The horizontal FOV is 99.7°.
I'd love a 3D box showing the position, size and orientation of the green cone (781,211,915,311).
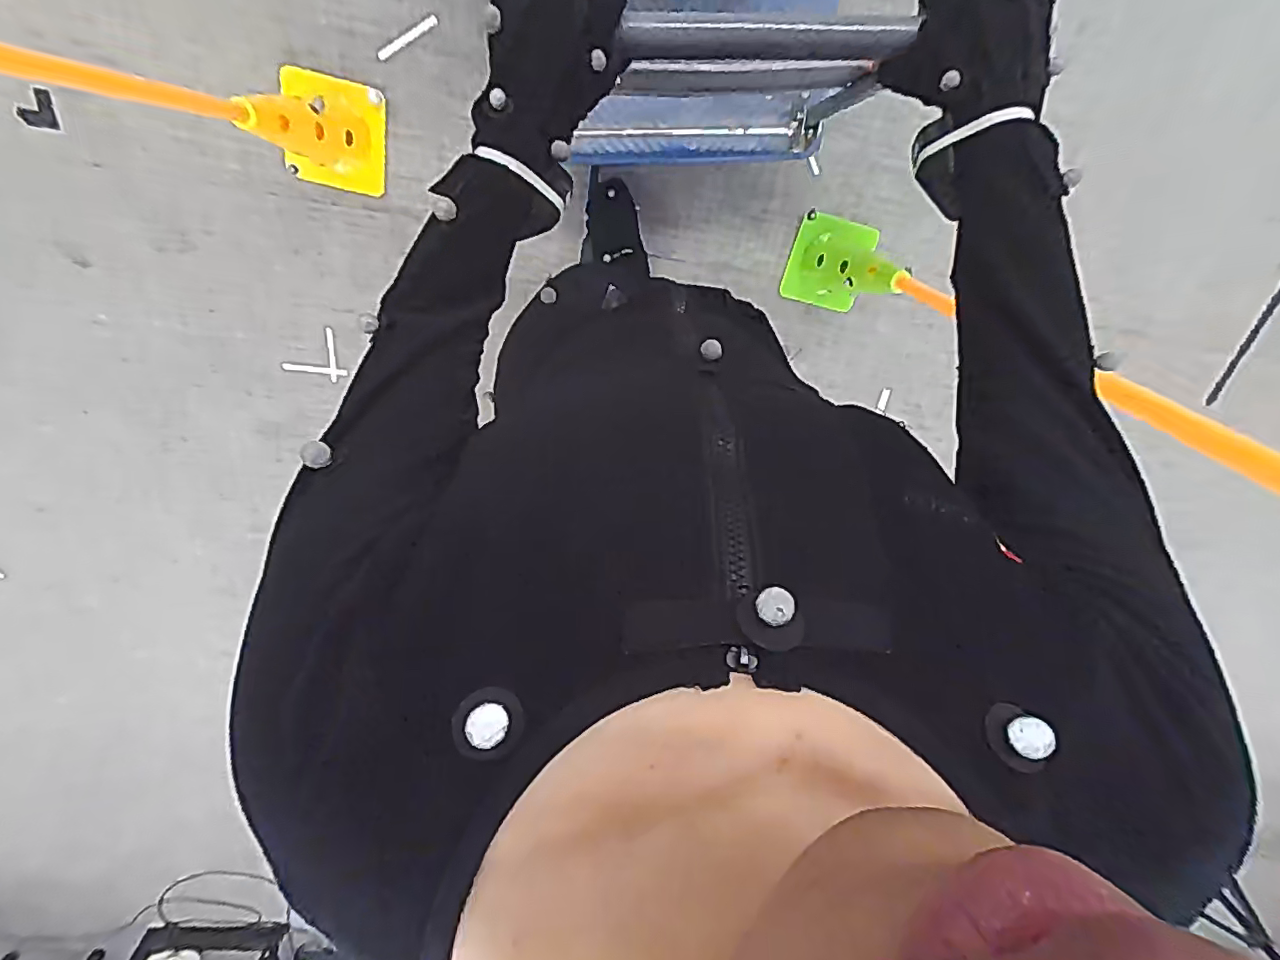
[{"bbox_3d":[0.477,-0.452,1.173,0.202,0.368,0.200,10,117,-11],"label":"green cone"}]
